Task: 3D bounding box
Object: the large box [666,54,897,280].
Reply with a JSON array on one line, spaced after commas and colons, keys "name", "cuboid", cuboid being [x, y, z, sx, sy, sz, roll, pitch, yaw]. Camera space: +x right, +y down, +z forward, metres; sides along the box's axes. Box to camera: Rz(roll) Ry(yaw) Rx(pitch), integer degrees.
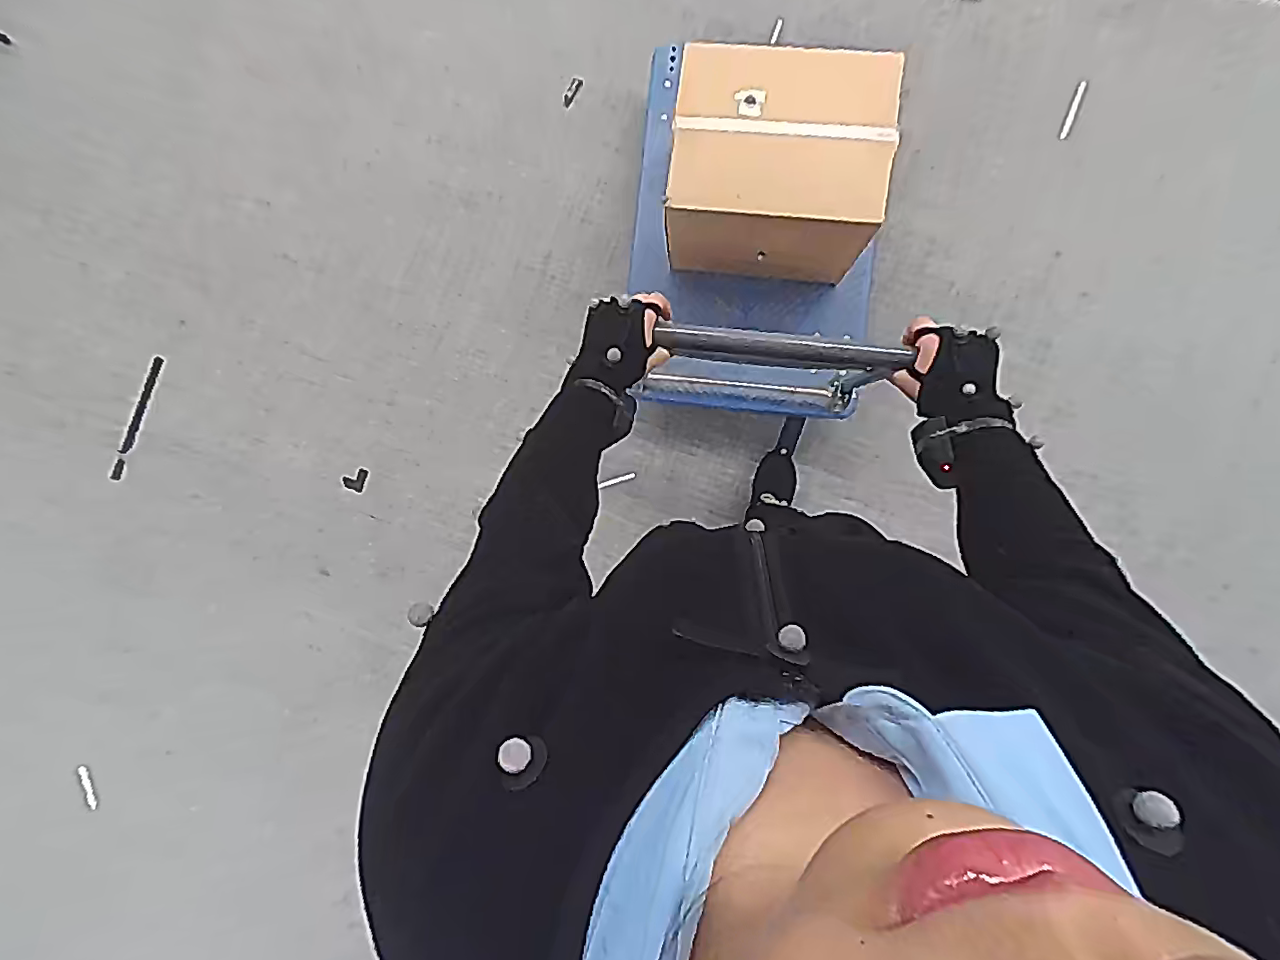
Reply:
[{"name": "large box", "cuboid": [0.280, -0.645, 1.162, 0.408, 0.320, 0.320, 7, 90, 6]}]
